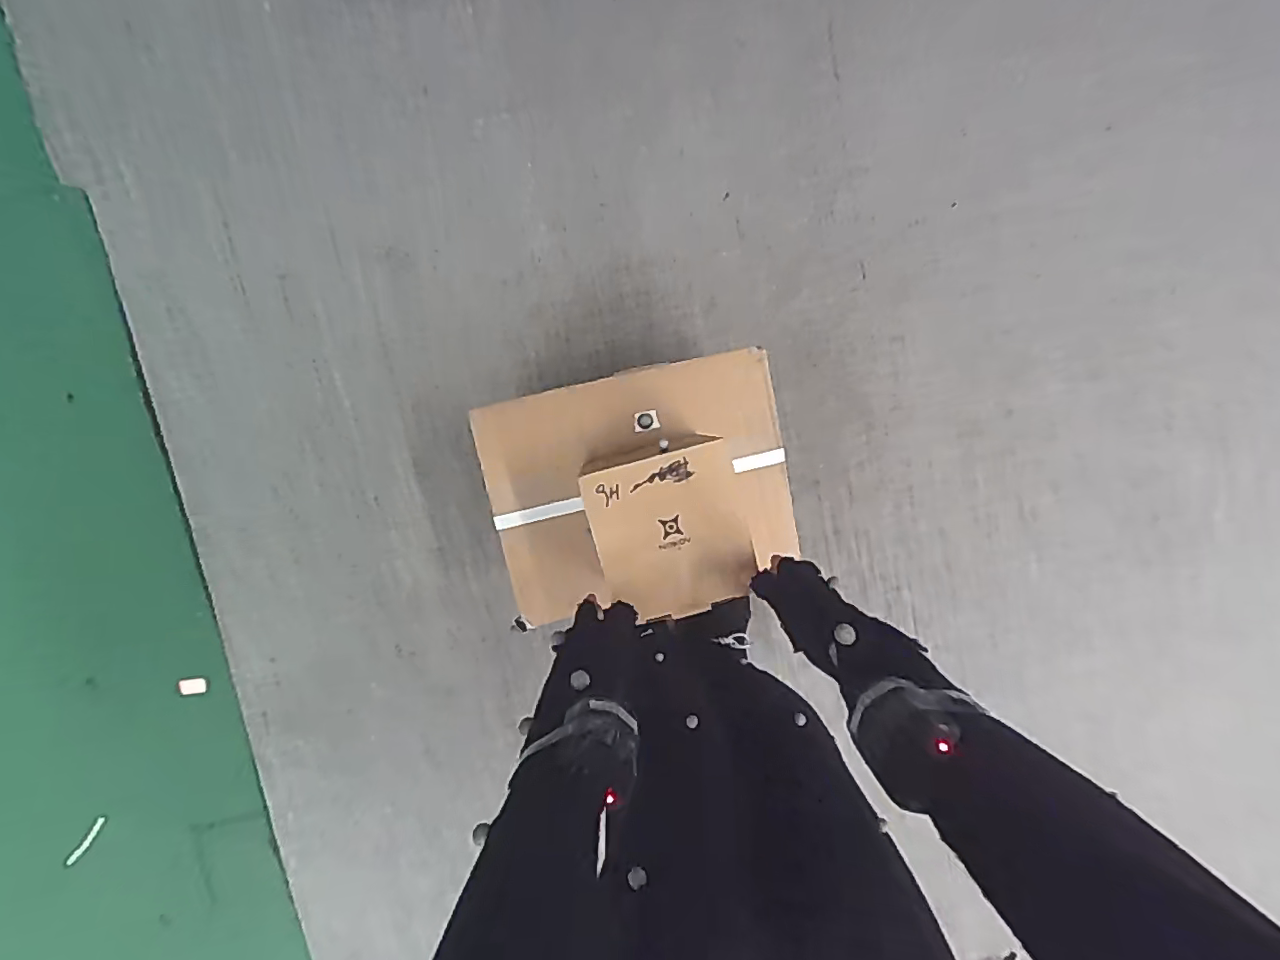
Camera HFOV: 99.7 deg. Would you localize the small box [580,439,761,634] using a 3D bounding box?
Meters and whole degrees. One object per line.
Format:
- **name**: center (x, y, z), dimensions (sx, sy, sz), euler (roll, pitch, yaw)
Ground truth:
- **small box**: center (0.032, 0.056, 0.659), dimensions (0.168, 0.176, 0.179), euler (-15, 98, -1)
